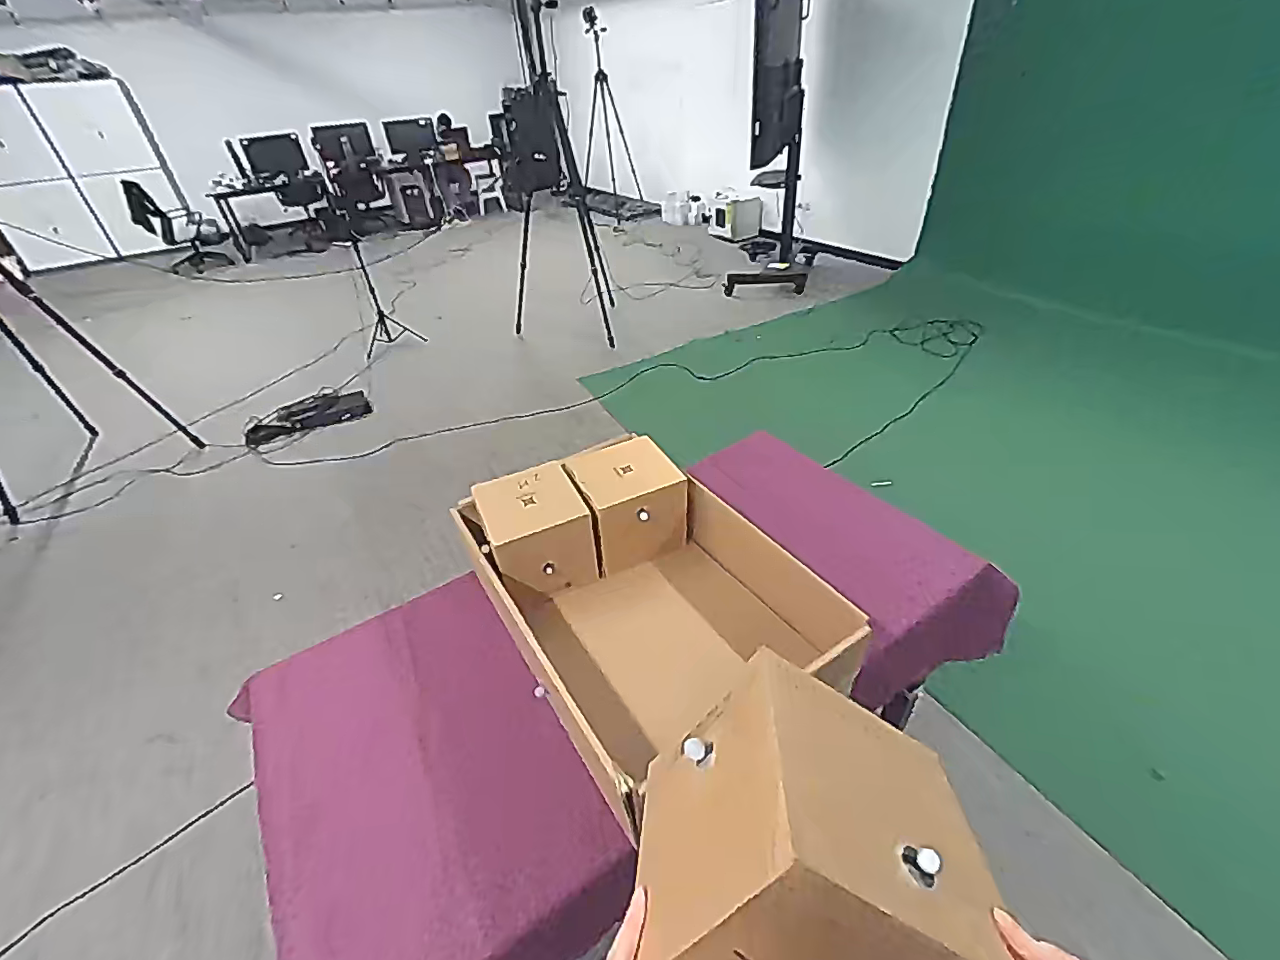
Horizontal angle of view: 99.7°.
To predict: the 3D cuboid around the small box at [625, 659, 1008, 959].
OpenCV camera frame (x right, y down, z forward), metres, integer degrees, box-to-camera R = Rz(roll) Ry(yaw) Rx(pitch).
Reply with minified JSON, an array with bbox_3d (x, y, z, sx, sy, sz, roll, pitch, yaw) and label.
[{"bbox_3d":[0.112,0.267,0.394,0.179,0.168,0.176,31,23,-5],"label":"small box"}]
